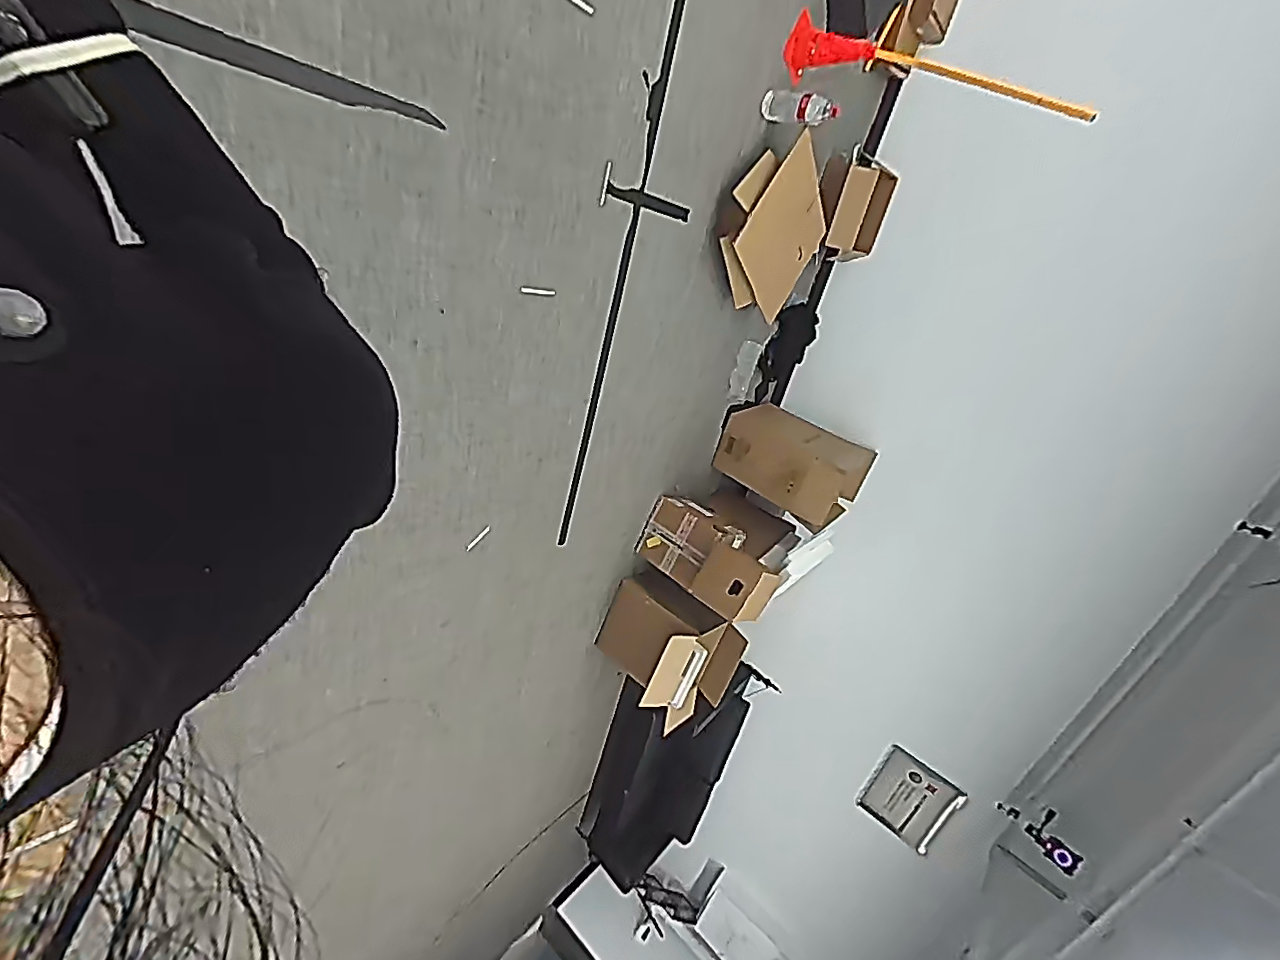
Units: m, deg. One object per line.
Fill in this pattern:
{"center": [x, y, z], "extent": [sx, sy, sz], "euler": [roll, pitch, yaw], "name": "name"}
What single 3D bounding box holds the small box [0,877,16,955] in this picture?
{"center": [-1.316, 0.822, 1.000], "extent": [0.179, 0.176, 0.168], "euler": [-17, 129, -49], "name": "small box"}
